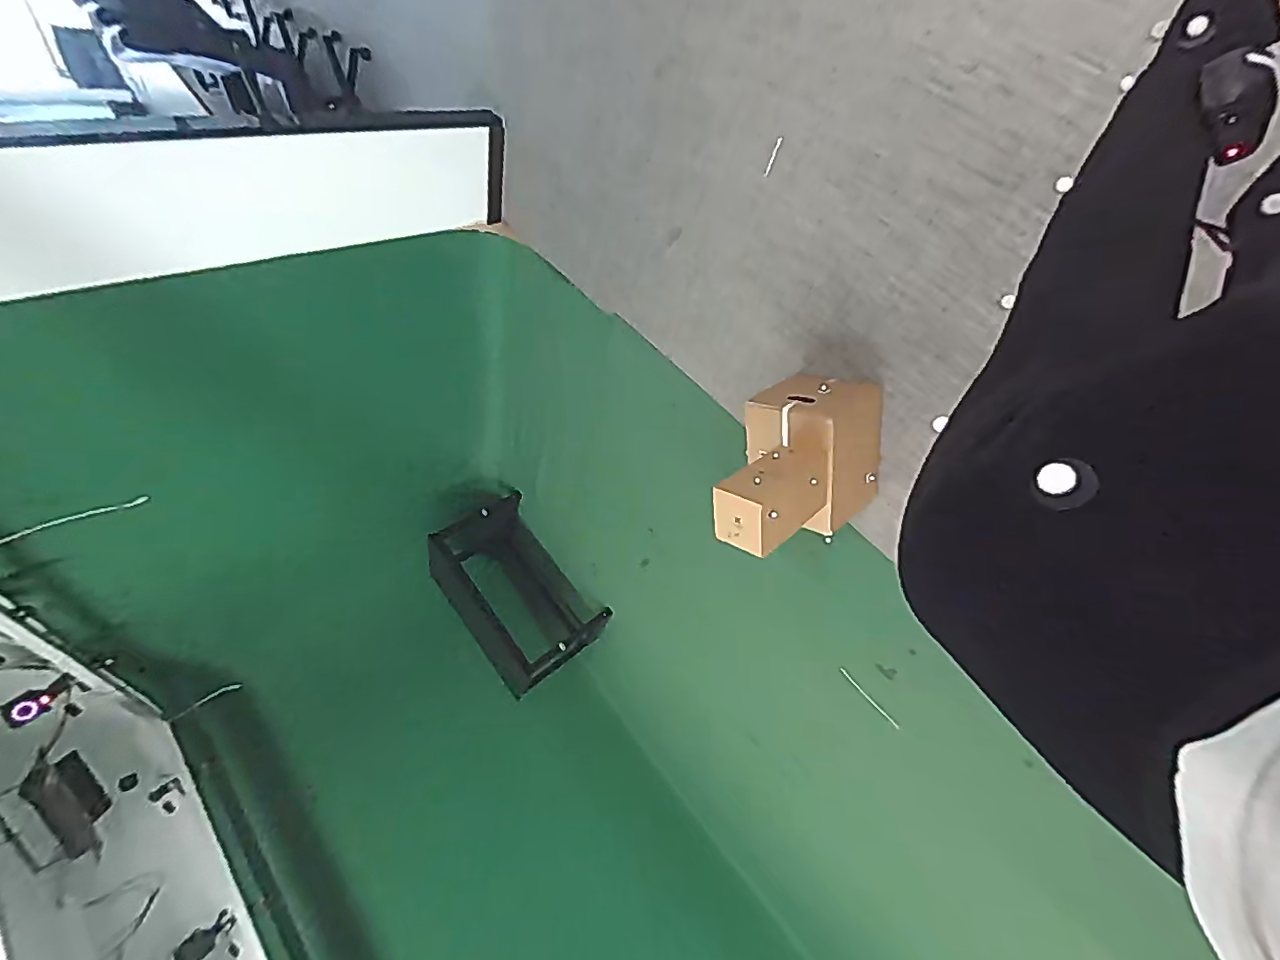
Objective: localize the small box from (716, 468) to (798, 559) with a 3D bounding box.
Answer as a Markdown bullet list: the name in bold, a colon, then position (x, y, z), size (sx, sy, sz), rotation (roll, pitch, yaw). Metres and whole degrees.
- **small box**: position (0.333, 0.087, 1.534), size (0.168, 0.176, 0.179), rotation (23, 131, 43)

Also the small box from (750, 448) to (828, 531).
- **small box**: position (0.451, 0.020, 1.627), size (0.168, 0.176, 0.179), rotation (20, 129, 43)
